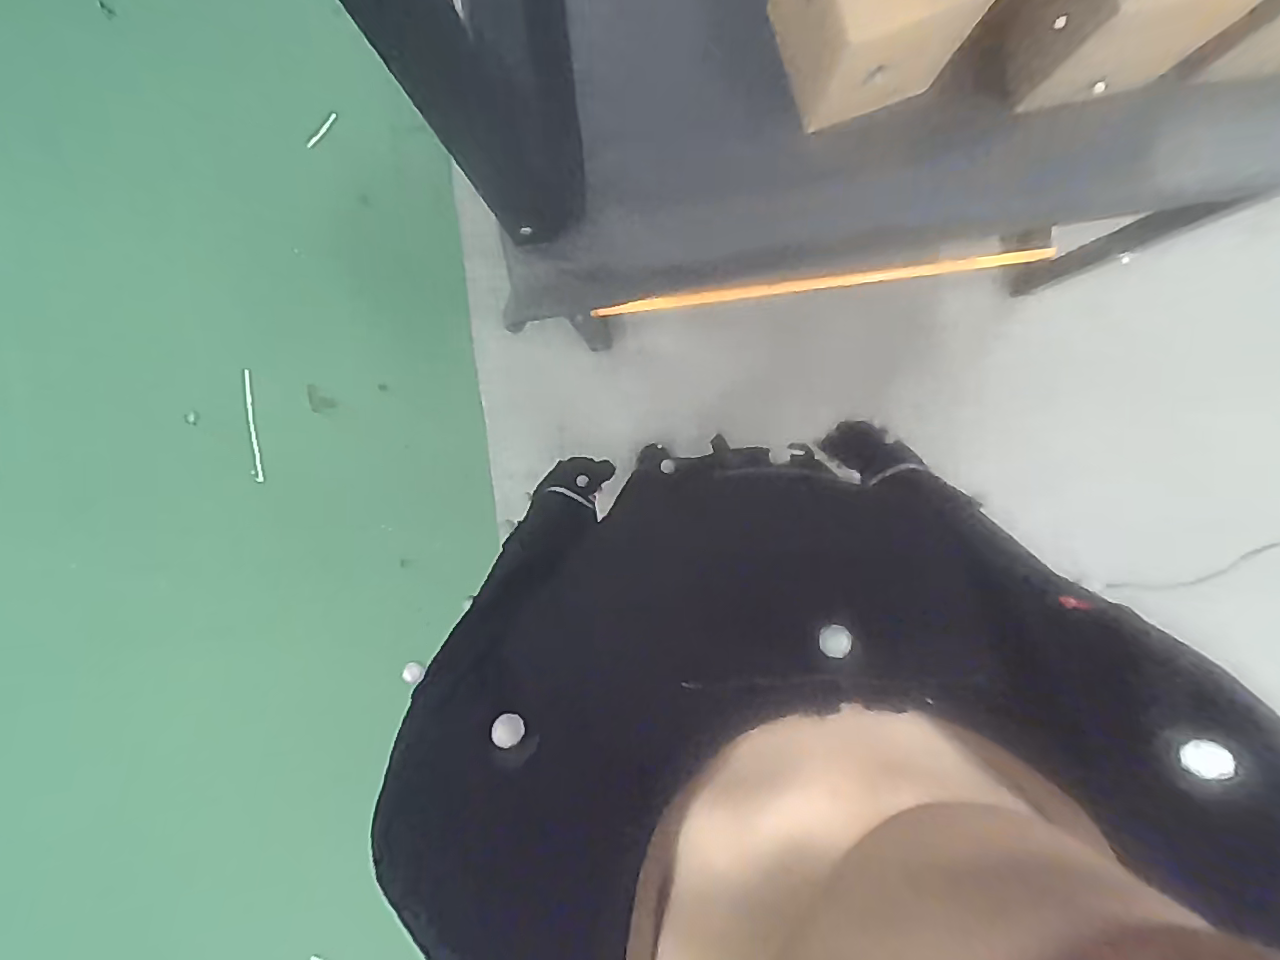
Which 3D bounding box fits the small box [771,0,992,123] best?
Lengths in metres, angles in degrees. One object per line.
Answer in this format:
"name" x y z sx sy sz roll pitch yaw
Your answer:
"small box" 0.267 -0.555 0.627 0.168 0.176 0.179 -18 92 3
